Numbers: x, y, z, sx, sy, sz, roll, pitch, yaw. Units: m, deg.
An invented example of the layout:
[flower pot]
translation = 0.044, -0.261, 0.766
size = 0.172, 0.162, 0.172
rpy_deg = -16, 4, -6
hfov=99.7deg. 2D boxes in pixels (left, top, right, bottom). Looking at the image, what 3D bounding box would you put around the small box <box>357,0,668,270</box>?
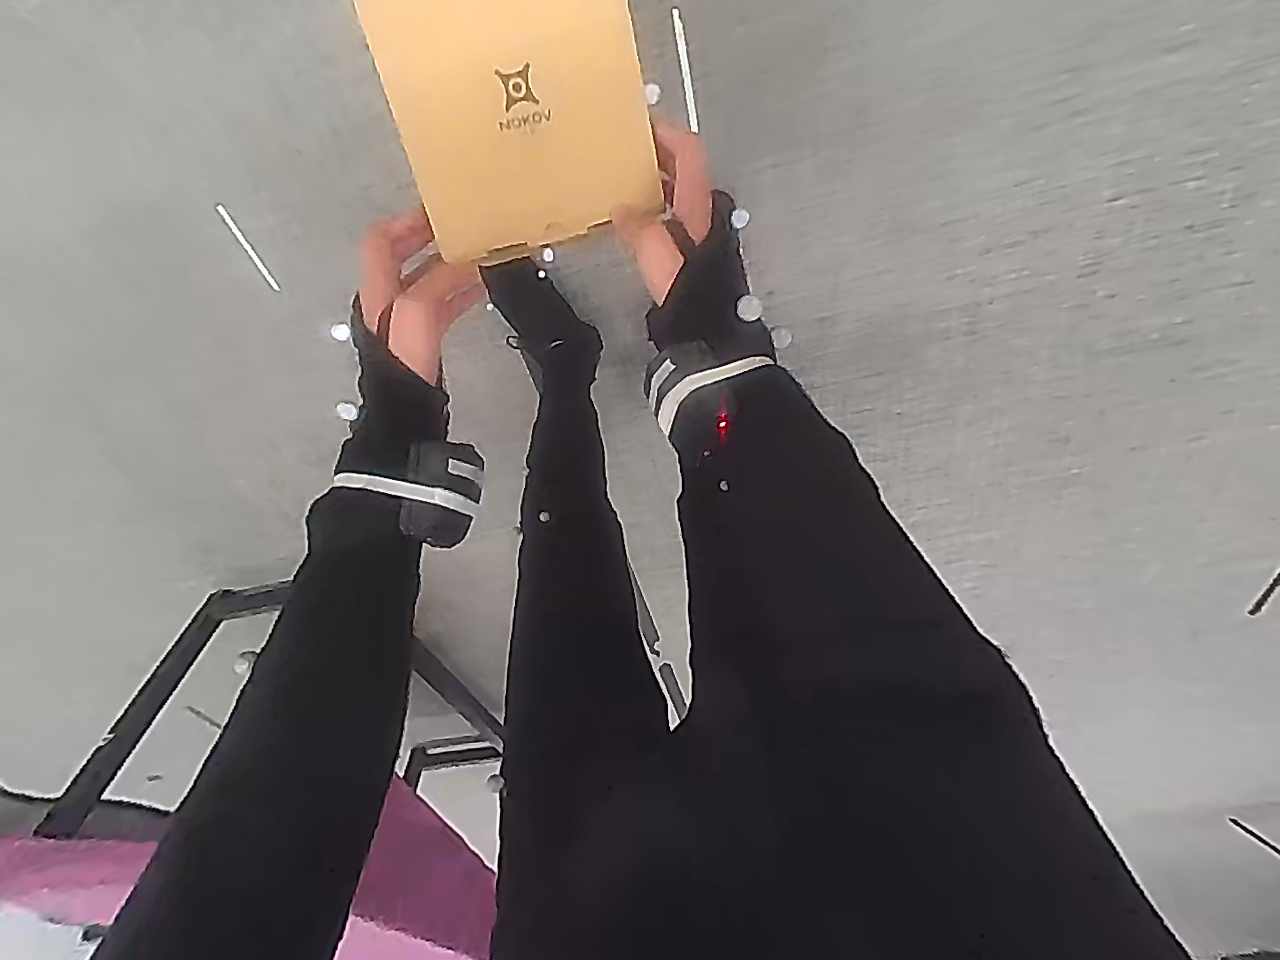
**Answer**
[small box]
translation = -0.086, -0.274, 0.426
size = 0.168, 0.176, 0.179
rpy_deg = -14, 114, -1
